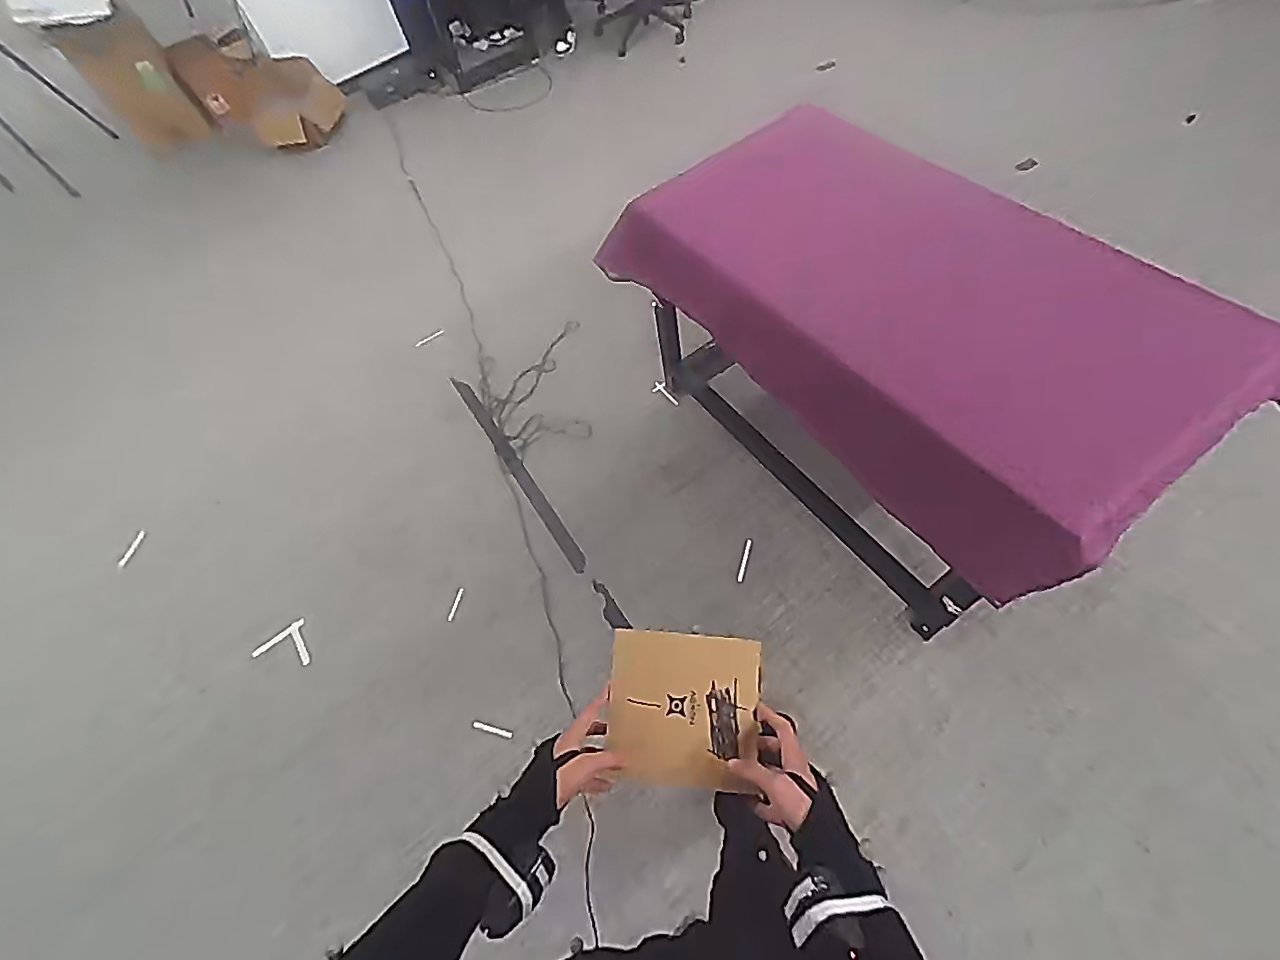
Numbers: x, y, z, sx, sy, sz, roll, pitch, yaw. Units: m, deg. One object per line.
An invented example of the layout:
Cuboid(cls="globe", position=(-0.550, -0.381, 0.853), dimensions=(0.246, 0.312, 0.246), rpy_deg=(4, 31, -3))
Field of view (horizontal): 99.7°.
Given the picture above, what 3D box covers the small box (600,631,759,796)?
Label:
Cuboid(cls="small box", position=(0.050, 0.289, 0.700), dimensions=(0.179, 0.176, 0.168), rpy_deg=(4, 73, 3))
